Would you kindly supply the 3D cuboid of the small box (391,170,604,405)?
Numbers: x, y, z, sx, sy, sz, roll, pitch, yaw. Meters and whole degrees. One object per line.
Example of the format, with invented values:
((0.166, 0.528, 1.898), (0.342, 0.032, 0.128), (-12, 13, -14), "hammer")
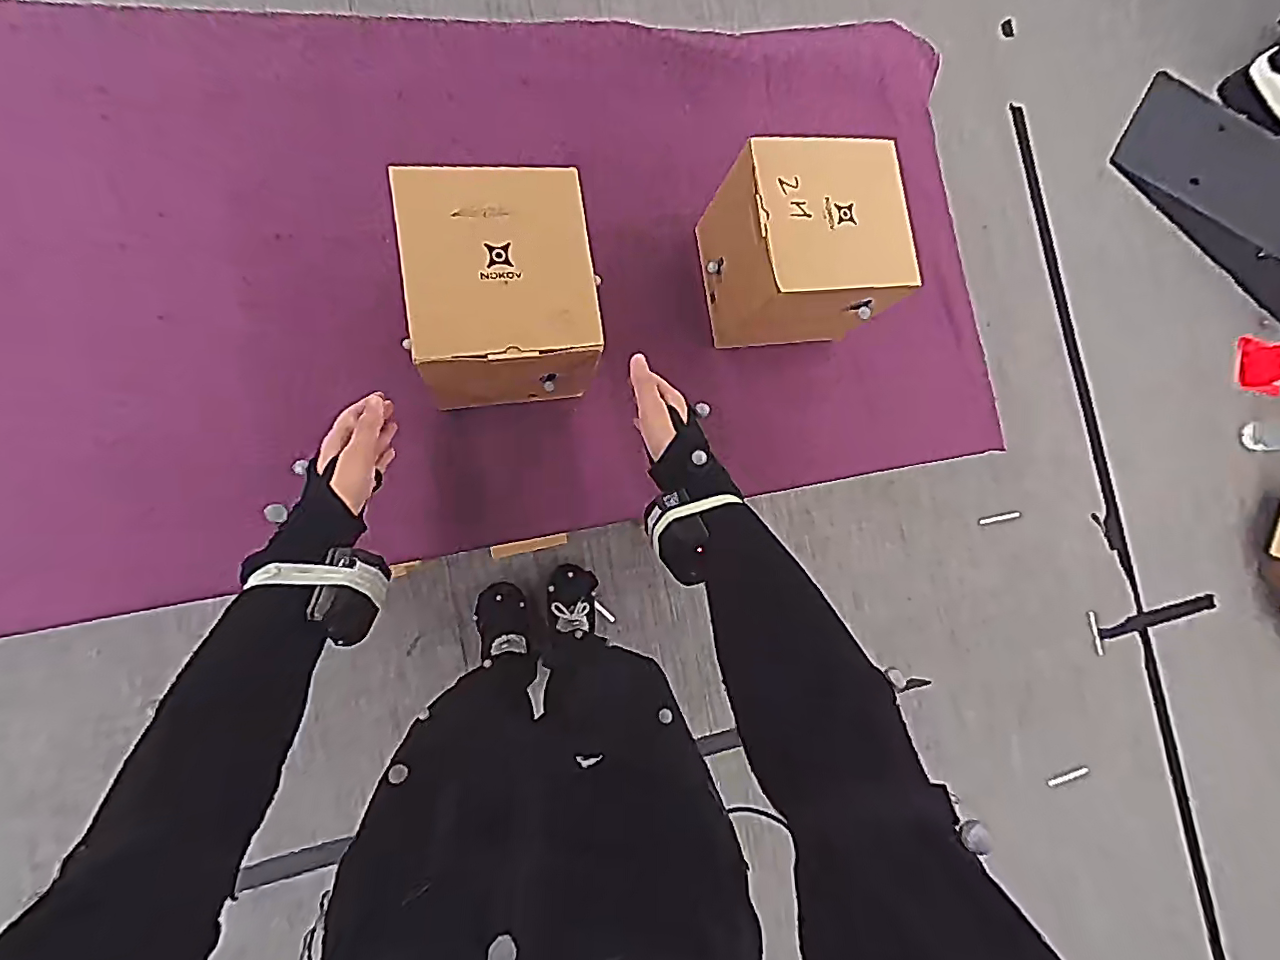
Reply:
((-0.141, -0.181, 0.552), (0.168, 0.176, 0.179), (-9, 85, -15), "small box")

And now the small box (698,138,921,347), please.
((0.187, -0.266, 0.637), (0.179, 0.176, 0.168), (-8, 86, -14), "small box")

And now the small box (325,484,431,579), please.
((-0.560, 0.110, 1.175), (0.168, 0.176, 0.179), (-9, 86, -15), "small box")

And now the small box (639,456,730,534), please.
((0.106, 0.041, 1.344), (0.179, 0.176, 0.168), (7, 83, -12), "small box")
